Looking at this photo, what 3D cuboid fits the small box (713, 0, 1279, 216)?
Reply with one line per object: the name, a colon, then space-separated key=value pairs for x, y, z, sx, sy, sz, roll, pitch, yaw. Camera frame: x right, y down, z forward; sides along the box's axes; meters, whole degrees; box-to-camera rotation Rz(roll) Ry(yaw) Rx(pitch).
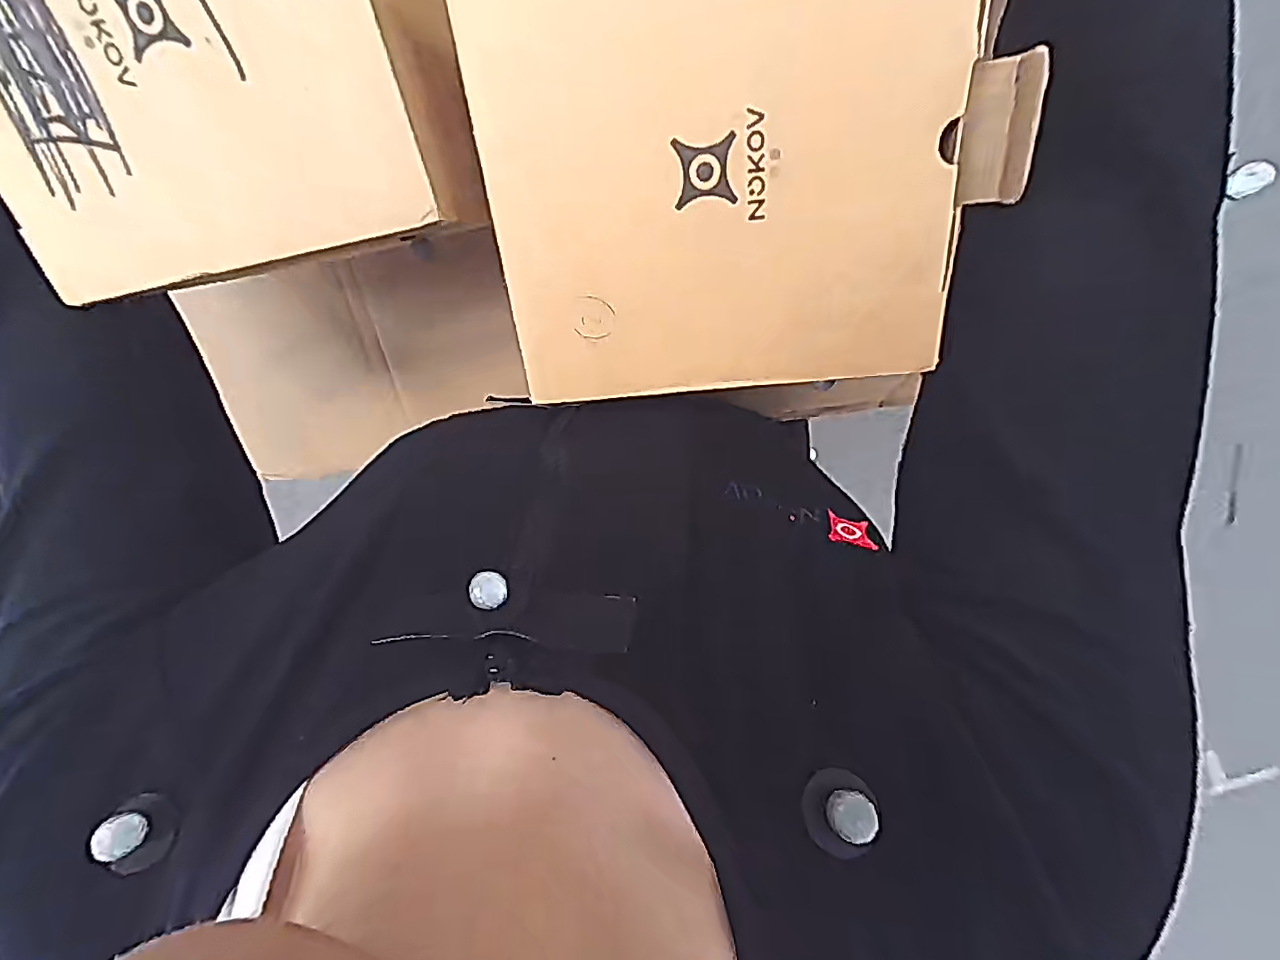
small box: x=0.131 y=-0.215 z=0.211 sx=0.179 sy=0.176 sz=0.168 roll=8 pitch=125 yaw=-2
